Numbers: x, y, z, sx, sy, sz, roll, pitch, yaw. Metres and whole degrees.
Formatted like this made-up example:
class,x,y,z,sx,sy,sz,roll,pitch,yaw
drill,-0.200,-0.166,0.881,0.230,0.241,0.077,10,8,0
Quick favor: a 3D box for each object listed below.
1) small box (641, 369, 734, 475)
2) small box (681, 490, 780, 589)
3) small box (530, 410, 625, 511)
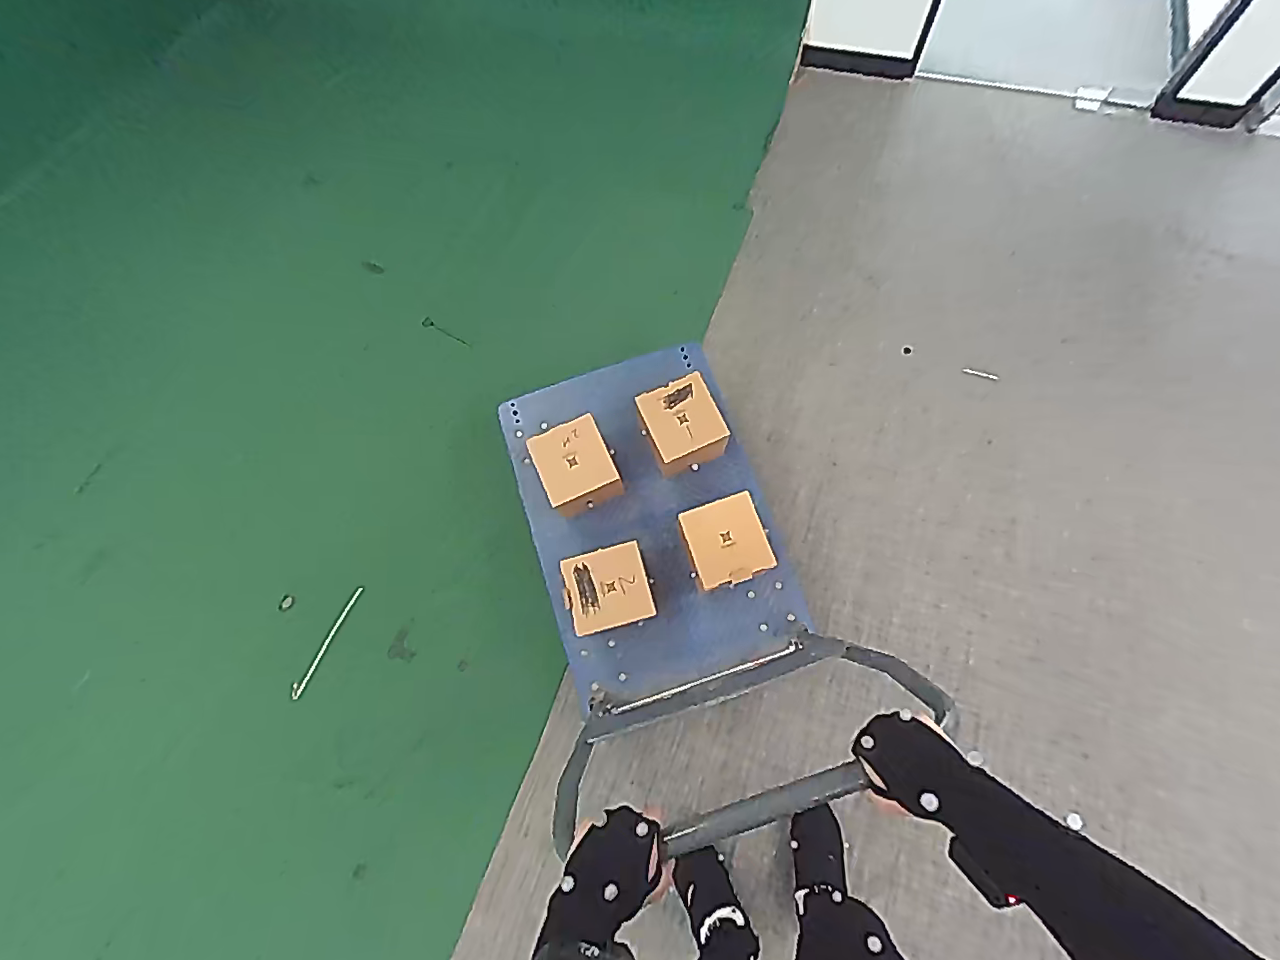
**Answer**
class,x,y,z,sx,sy,sz,roll,pitch,yaw
small box,0.109,-0.133,1.307,0.168,0.176,0.179,-23,77,-3
small box,0.196,0.142,1.238,0.168,0.176,0.179,-18,77,-2
small box,-0.143,-0.037,1.293,0.168,0.176,0.179,-23,77,-4
